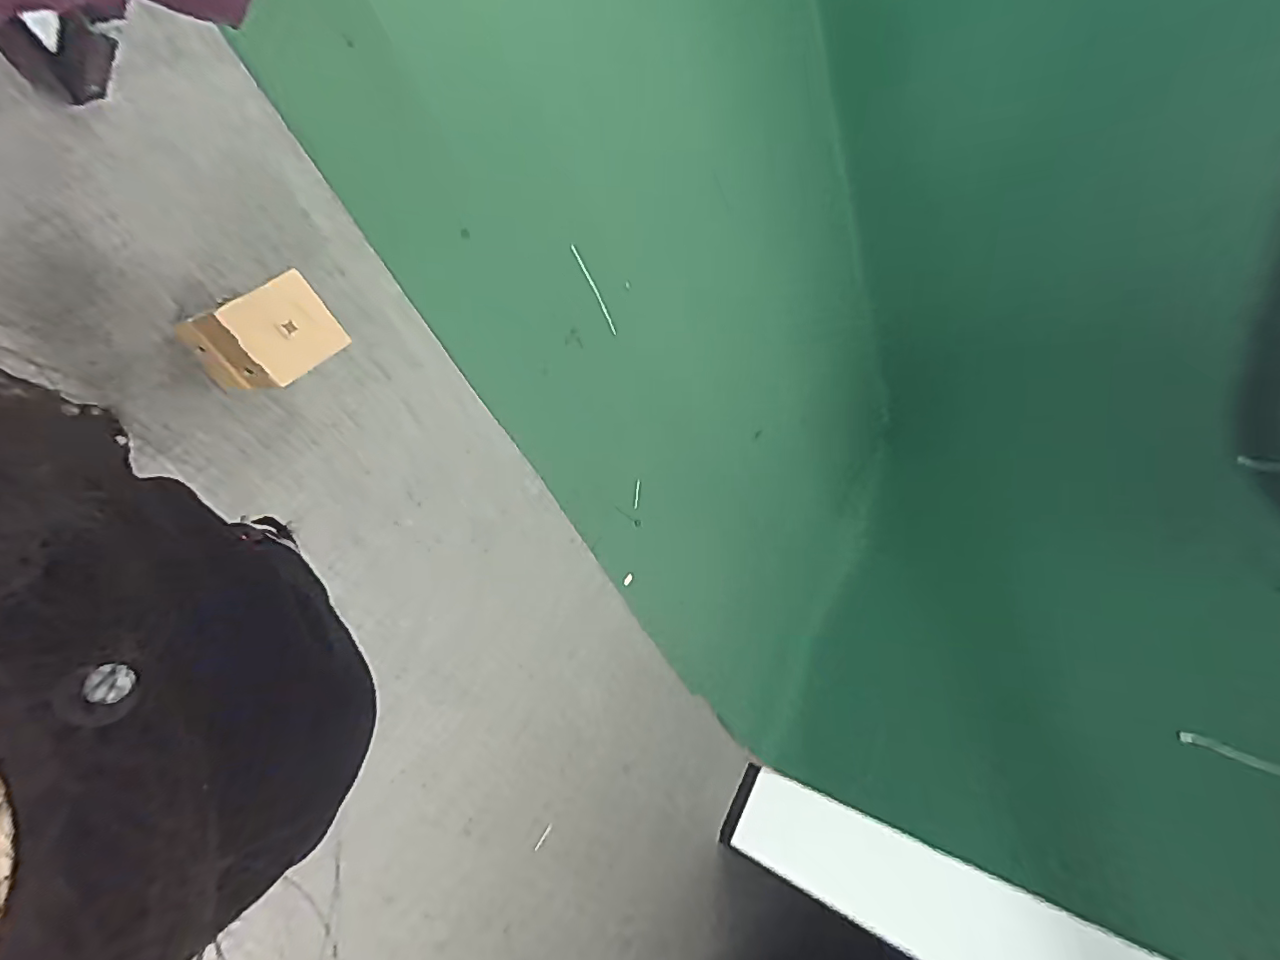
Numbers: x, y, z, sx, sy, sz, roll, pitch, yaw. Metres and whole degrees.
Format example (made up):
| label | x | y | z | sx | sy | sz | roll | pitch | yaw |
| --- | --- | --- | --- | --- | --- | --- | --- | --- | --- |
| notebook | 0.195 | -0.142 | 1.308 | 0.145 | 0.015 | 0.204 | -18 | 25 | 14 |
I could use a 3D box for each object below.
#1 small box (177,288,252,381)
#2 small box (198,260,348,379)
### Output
| label | x | y | z | sx | sy | sz | roll | pitch | yaw |
| --- | --- | --- | --- | --- | --- | --- | --- | --- | --- |
| small box | -0.873 | -0.328 | 1.193 | 0.179 | 0.176 | 0.168 | -49 | 130 | -33 |
| small box | -0.745 | -0.317 | 1.092 | 0.179 | 0.176 | 0.168 | -52 | 132 | -32 |
